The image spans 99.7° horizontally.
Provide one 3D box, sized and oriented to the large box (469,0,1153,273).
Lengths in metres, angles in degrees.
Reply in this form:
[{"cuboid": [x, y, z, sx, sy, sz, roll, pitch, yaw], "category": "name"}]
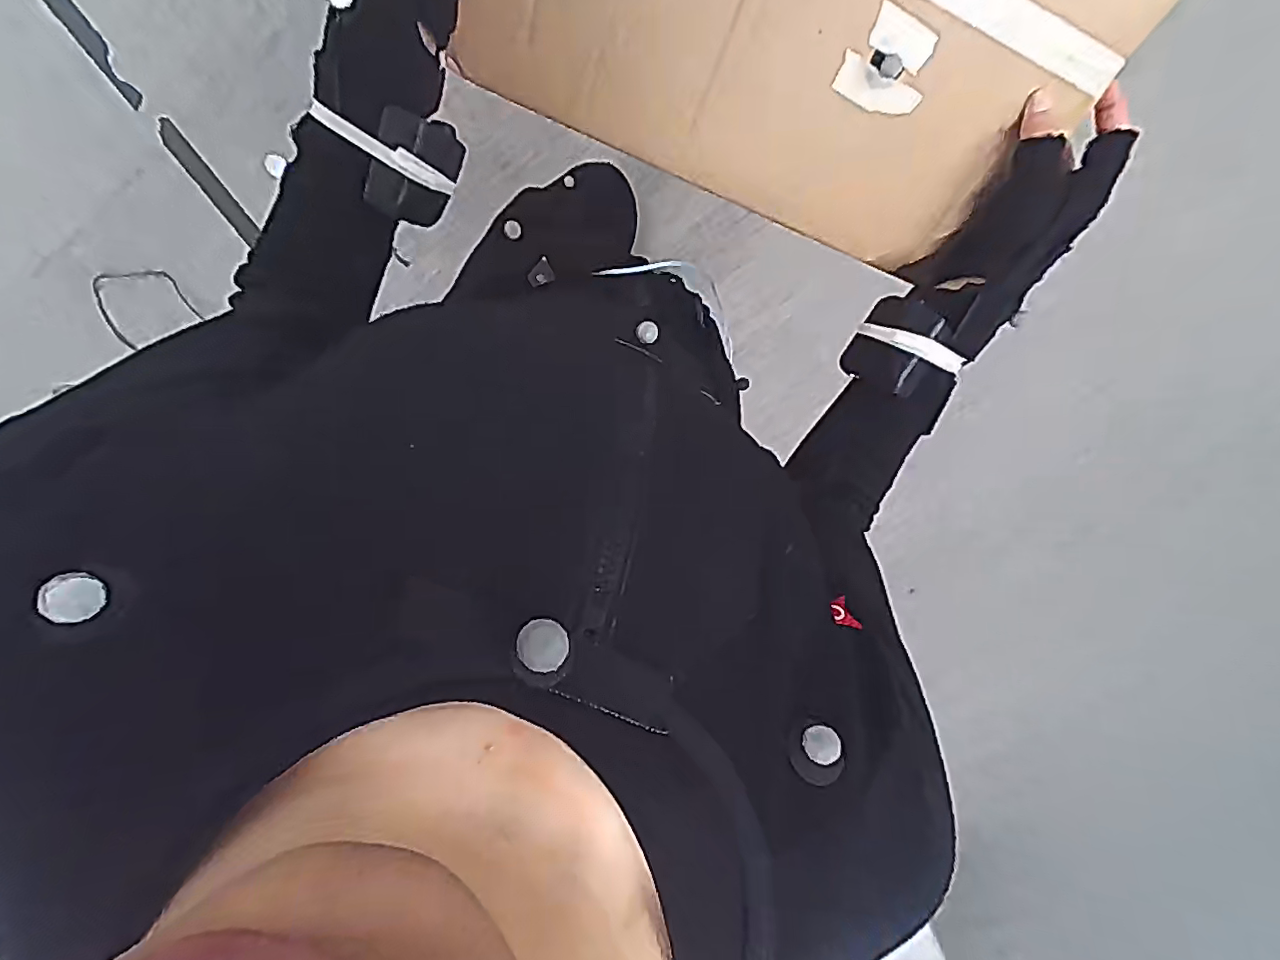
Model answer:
[{"cuboid": [0.121, -0.434, 0.422, 0.408, 0.320, 0.320, 17, 136, -13], "category": "large box"}]
